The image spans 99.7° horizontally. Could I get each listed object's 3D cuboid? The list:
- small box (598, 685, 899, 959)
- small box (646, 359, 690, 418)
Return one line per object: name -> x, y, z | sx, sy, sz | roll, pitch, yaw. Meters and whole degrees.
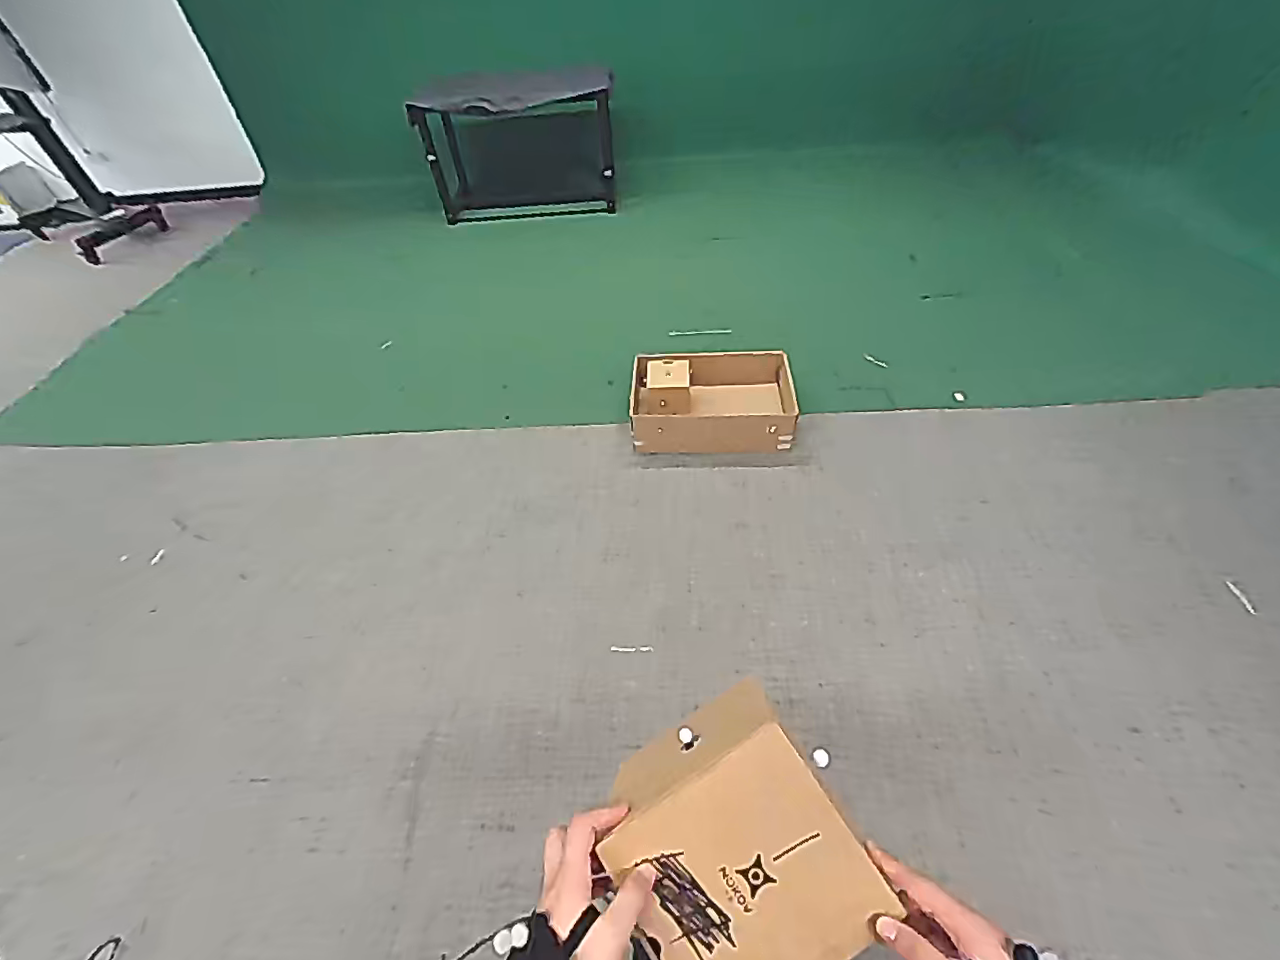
small box -> 0.088, 0.319, 0.495 | 0.179, 0.176, 0.168 | -34, 81, -1
small box -> 0.115, -0.362, 2.157 | 0.168, 0.176, 0.179 | -1, 48, 4
